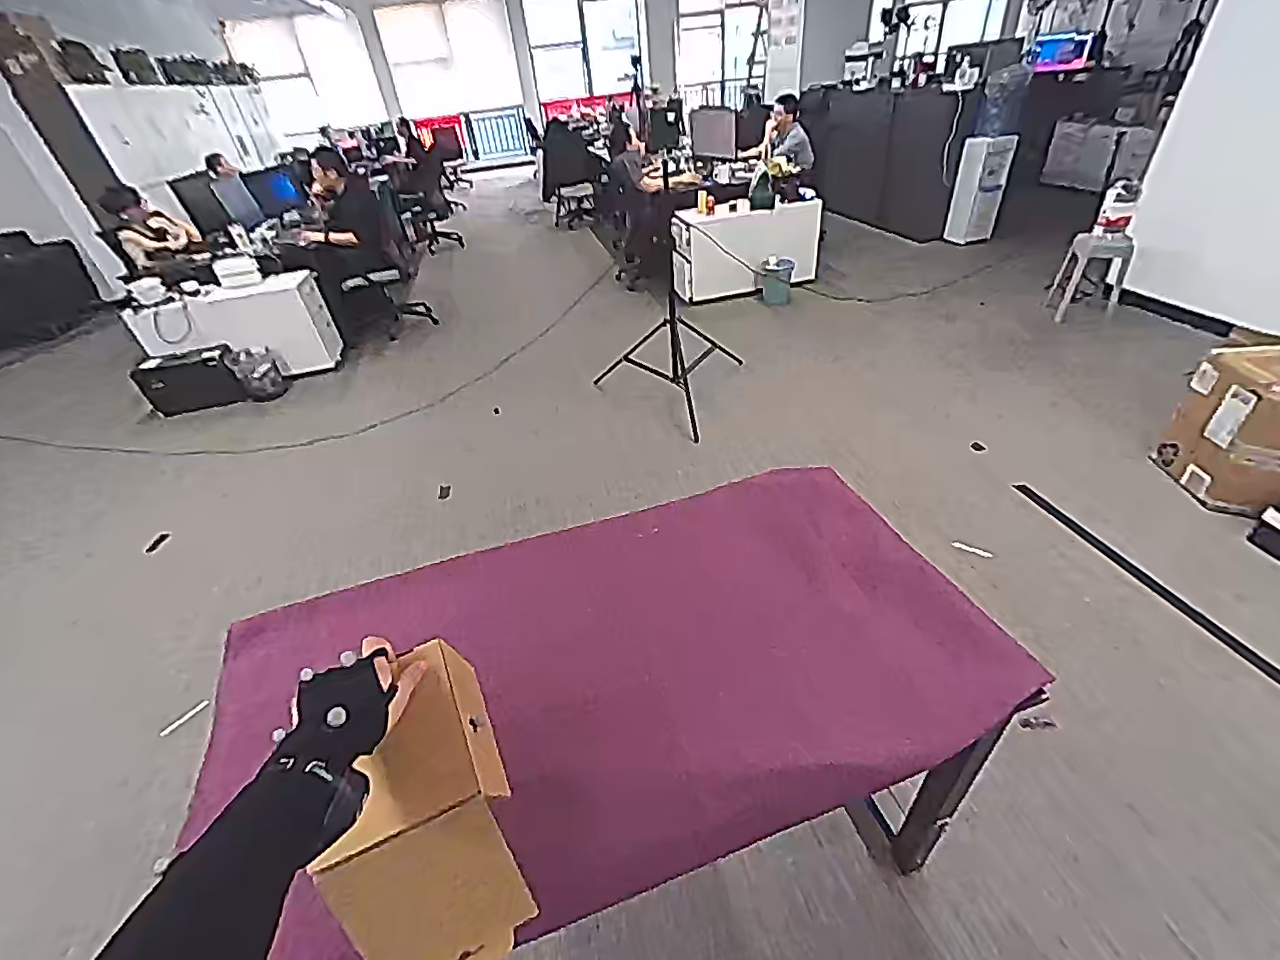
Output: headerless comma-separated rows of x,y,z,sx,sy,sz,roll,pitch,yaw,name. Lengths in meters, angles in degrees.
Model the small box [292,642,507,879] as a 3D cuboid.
-0.268,0.320,0.631,0.168,0.176,0.179,-21,61,-14,small box
